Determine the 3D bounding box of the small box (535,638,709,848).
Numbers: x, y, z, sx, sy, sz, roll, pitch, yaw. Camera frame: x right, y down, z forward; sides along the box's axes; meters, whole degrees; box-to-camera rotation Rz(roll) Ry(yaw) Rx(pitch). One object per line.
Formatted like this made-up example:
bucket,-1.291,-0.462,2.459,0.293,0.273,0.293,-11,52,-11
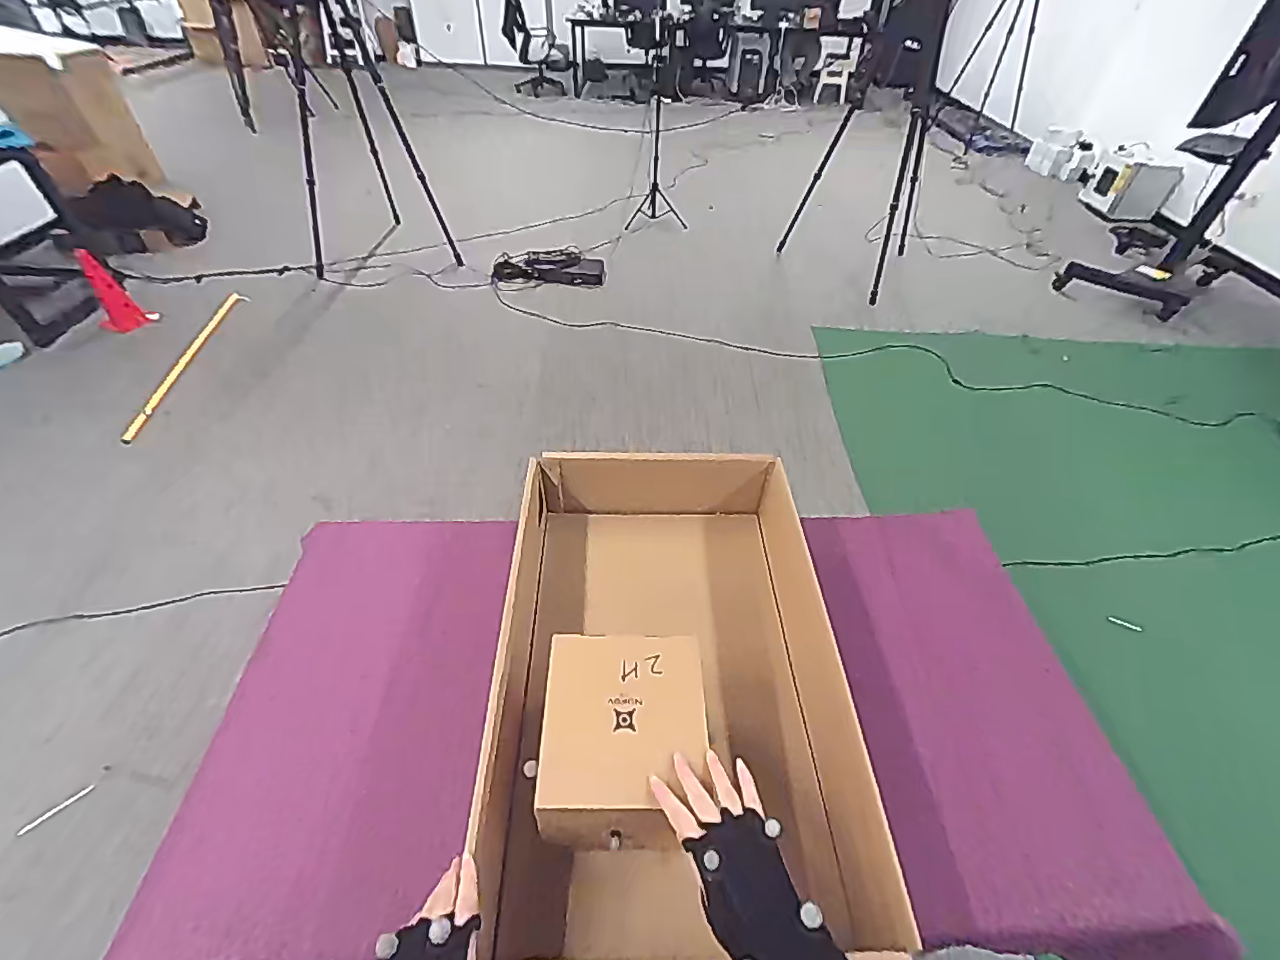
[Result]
small box,-0.017,0.300,0.613,0.168,0.176,0.179,1,44,-2
